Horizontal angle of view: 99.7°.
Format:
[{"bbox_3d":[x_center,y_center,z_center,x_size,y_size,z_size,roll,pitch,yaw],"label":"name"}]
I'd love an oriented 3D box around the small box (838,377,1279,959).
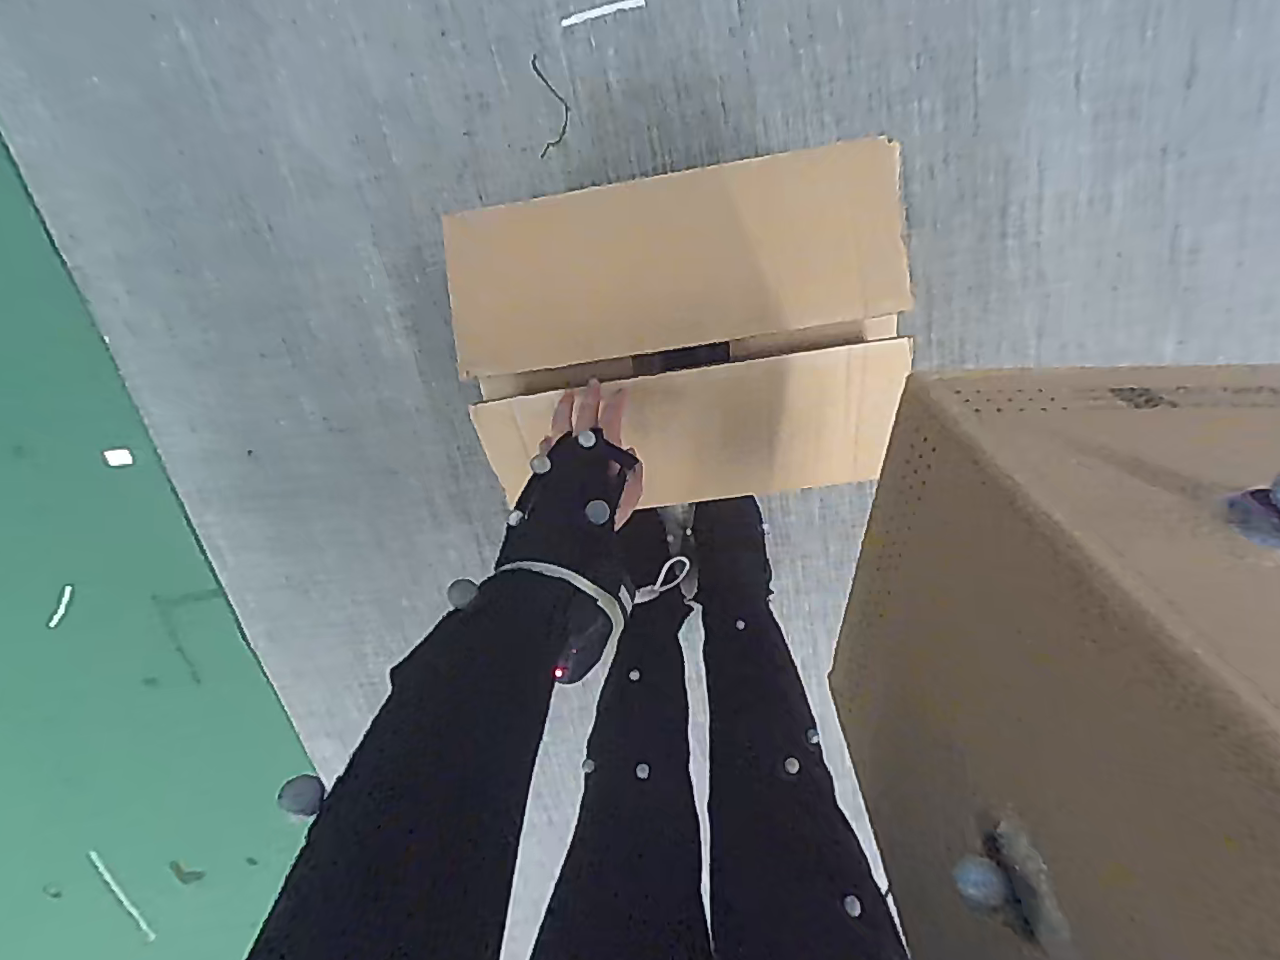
[{"bbox_3d":[0.174,0.077,0.164,0.168,0.176,0.179,0,124,3],"label":"small box"}]
